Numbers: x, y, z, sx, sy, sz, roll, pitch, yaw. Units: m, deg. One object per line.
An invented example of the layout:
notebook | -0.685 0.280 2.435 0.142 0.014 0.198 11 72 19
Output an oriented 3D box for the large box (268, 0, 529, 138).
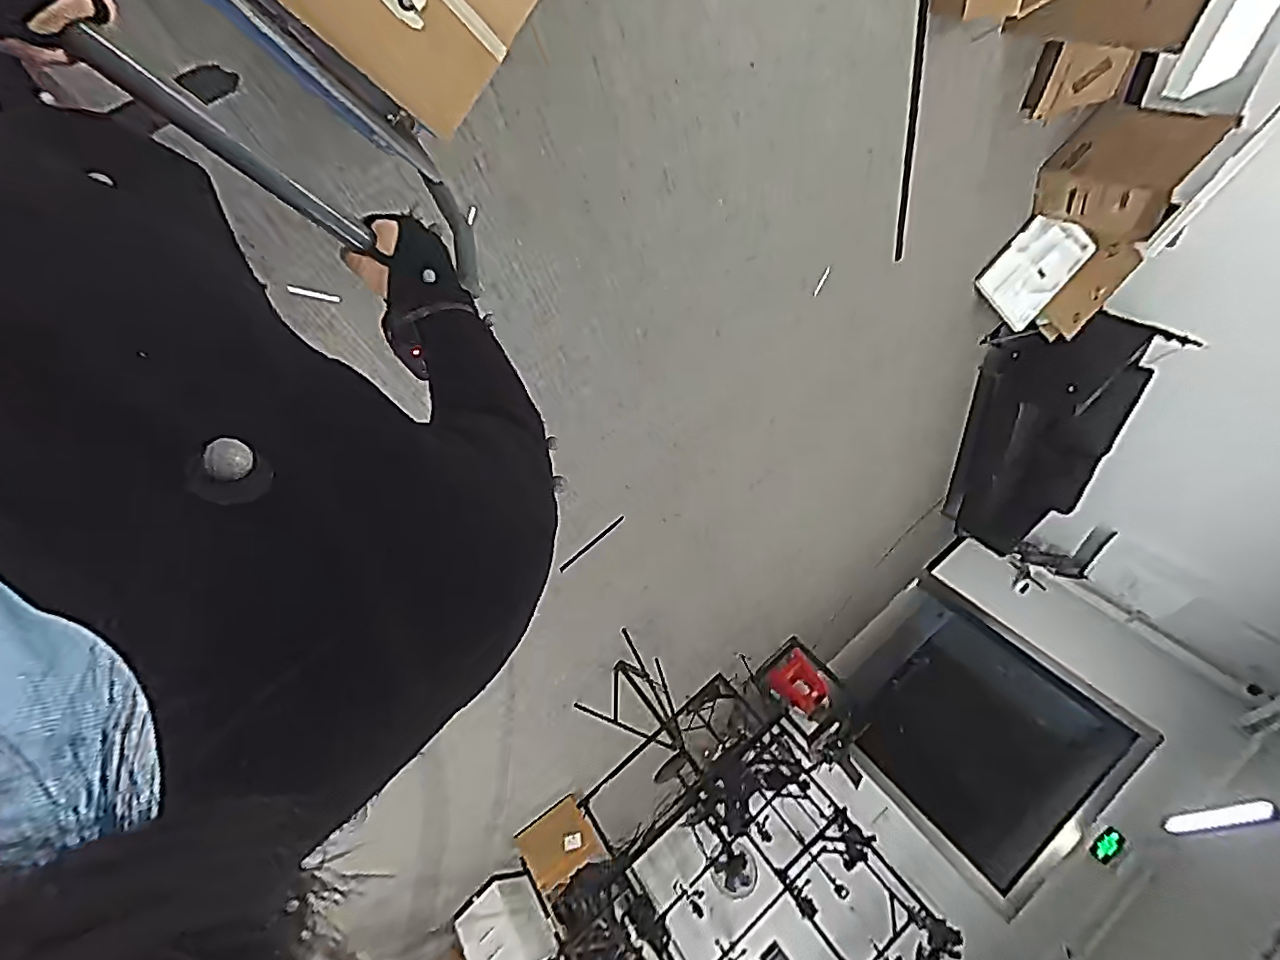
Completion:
large box | -0.411 -0.796 0.756 0.320 0.320 0.408 -47 144 15
